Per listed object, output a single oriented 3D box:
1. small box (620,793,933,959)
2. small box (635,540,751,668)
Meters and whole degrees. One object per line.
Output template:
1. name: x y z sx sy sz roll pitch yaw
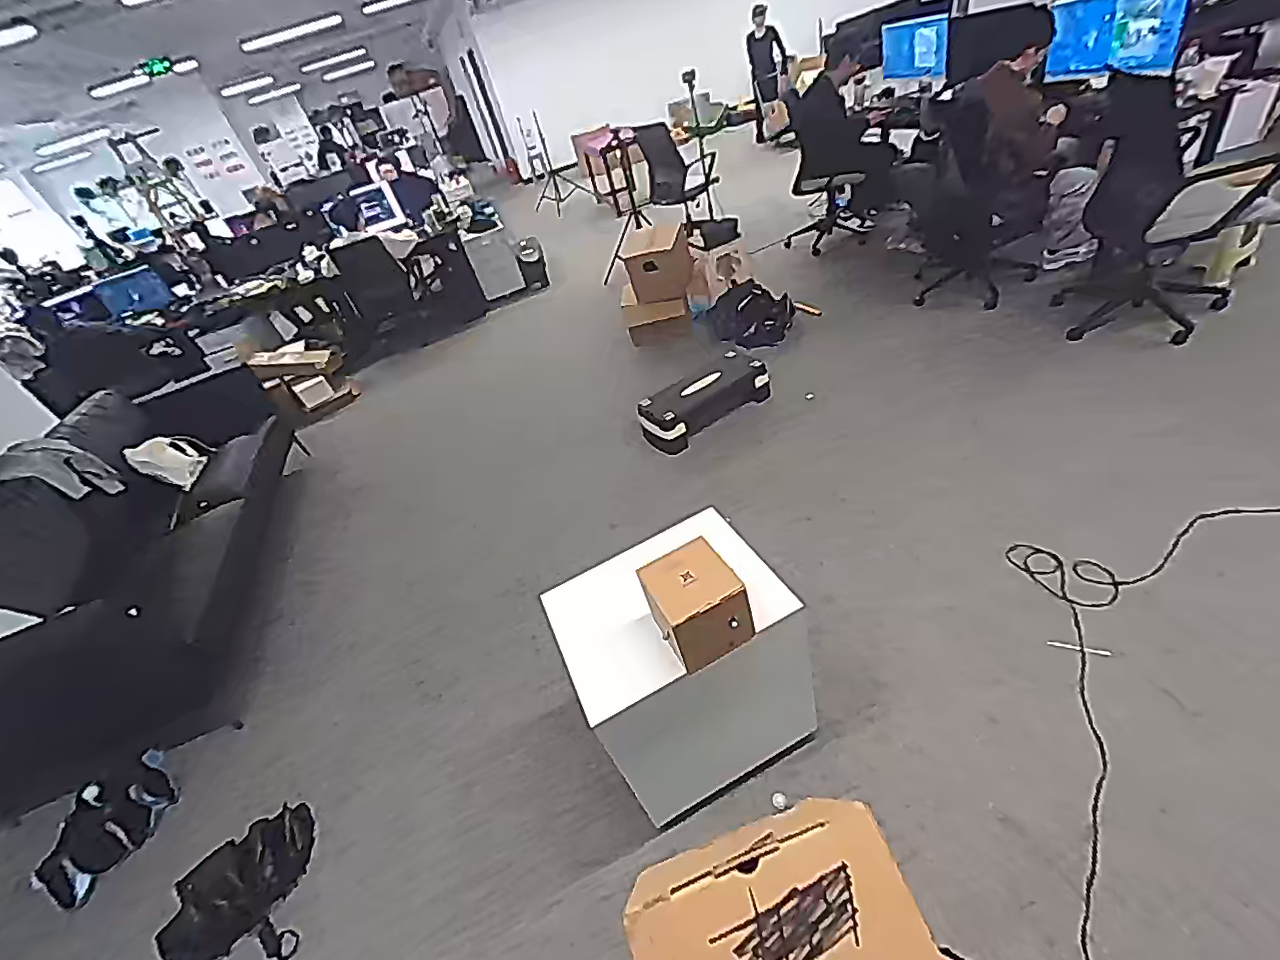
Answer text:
1. small box: 0.094 0.338 0.367 0.168 0.176 0.179 -19 61 -7
2. small box: 0.114 0.264 1.128 0.168 0.176 0.179 -25 36 -12
